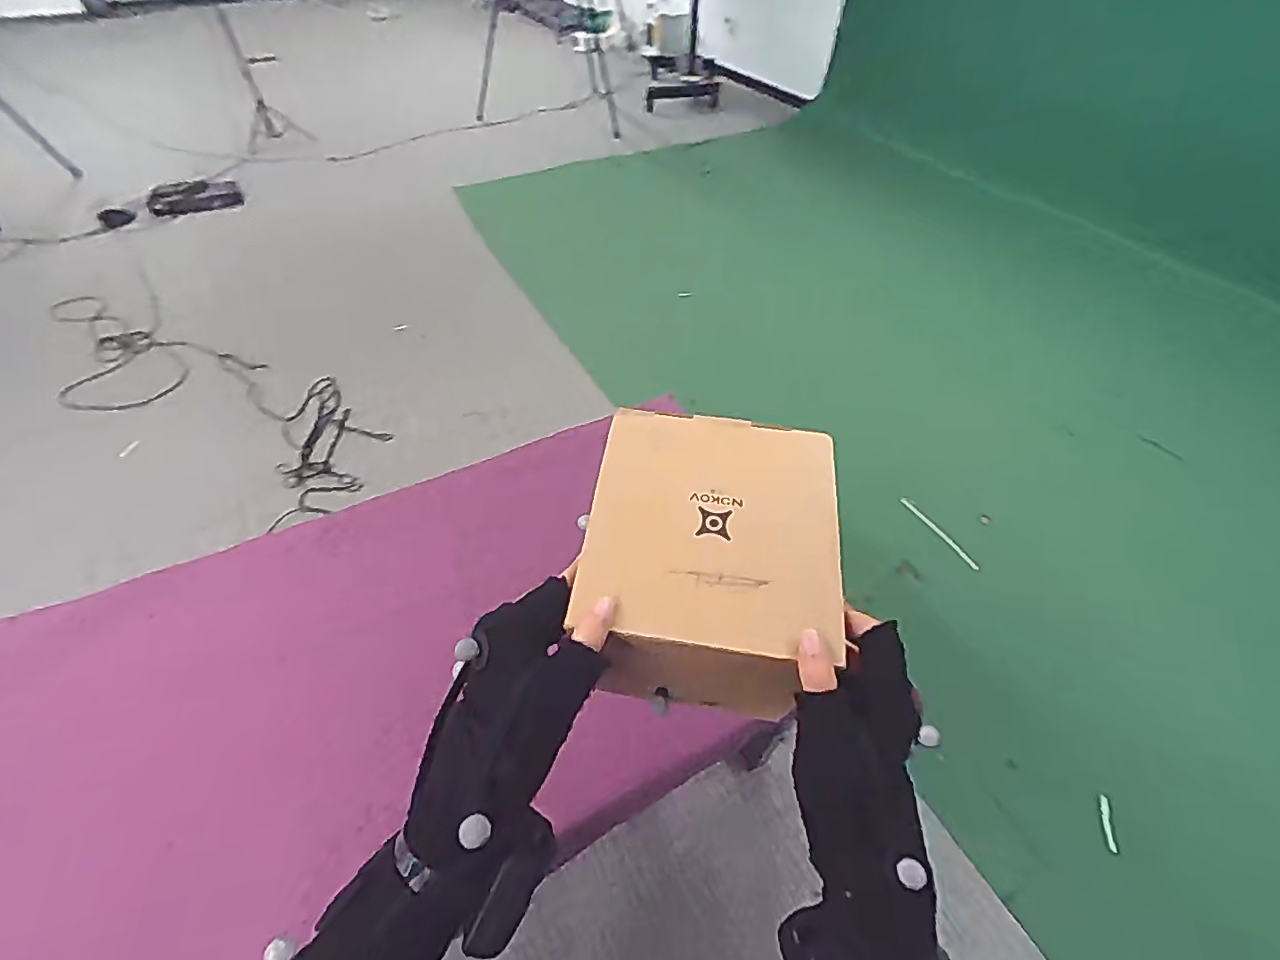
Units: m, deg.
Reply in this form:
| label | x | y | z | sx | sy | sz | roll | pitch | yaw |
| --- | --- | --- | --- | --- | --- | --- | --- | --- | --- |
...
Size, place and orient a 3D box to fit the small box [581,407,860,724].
| label | x | y | z | sx | sy | sz | roll | pitch | yaw |
| --- | --- | --- | --- | --- | --- | --- | --- | --- | --- |
| small box | 0.055 | 0.072 | 0.422 | 0.168 | 0.176 | 0.179 | 8 | 56 | 4 |
